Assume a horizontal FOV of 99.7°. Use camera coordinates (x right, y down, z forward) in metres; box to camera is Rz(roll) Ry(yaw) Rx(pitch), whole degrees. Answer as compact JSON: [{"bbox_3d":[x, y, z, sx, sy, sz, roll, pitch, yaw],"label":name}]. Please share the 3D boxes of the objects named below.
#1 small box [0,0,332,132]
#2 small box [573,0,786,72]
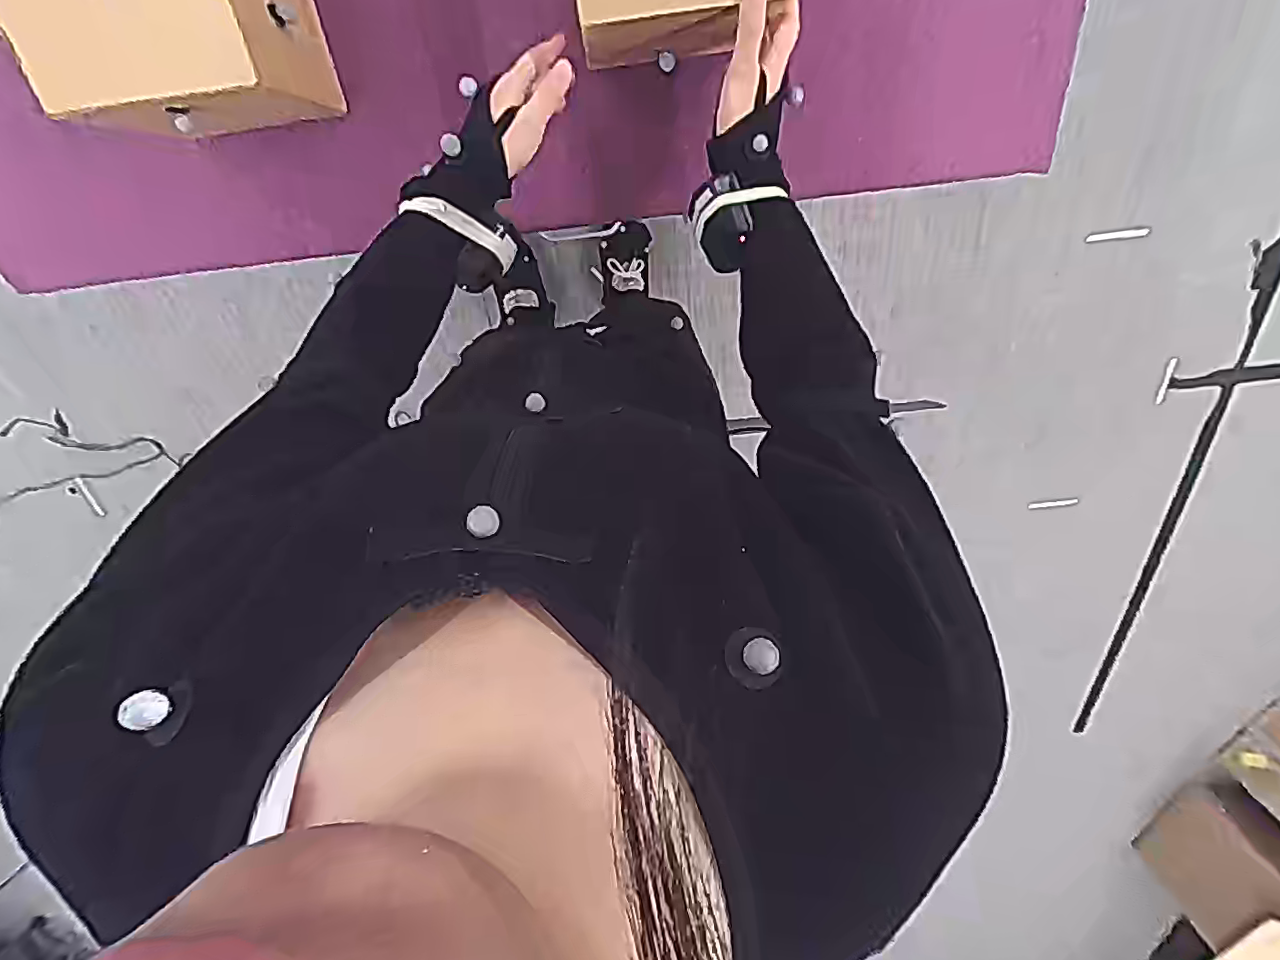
[{"bbox_3d":[-0.395,-0.407,0.458,0.179,0.176,0.168,-7,118,1],"label":"small box"},{"bbox_3d":[0.020,-0.468,0.445,0.168,0.176,0.179,-7,118,1],"label":"small box"}]
